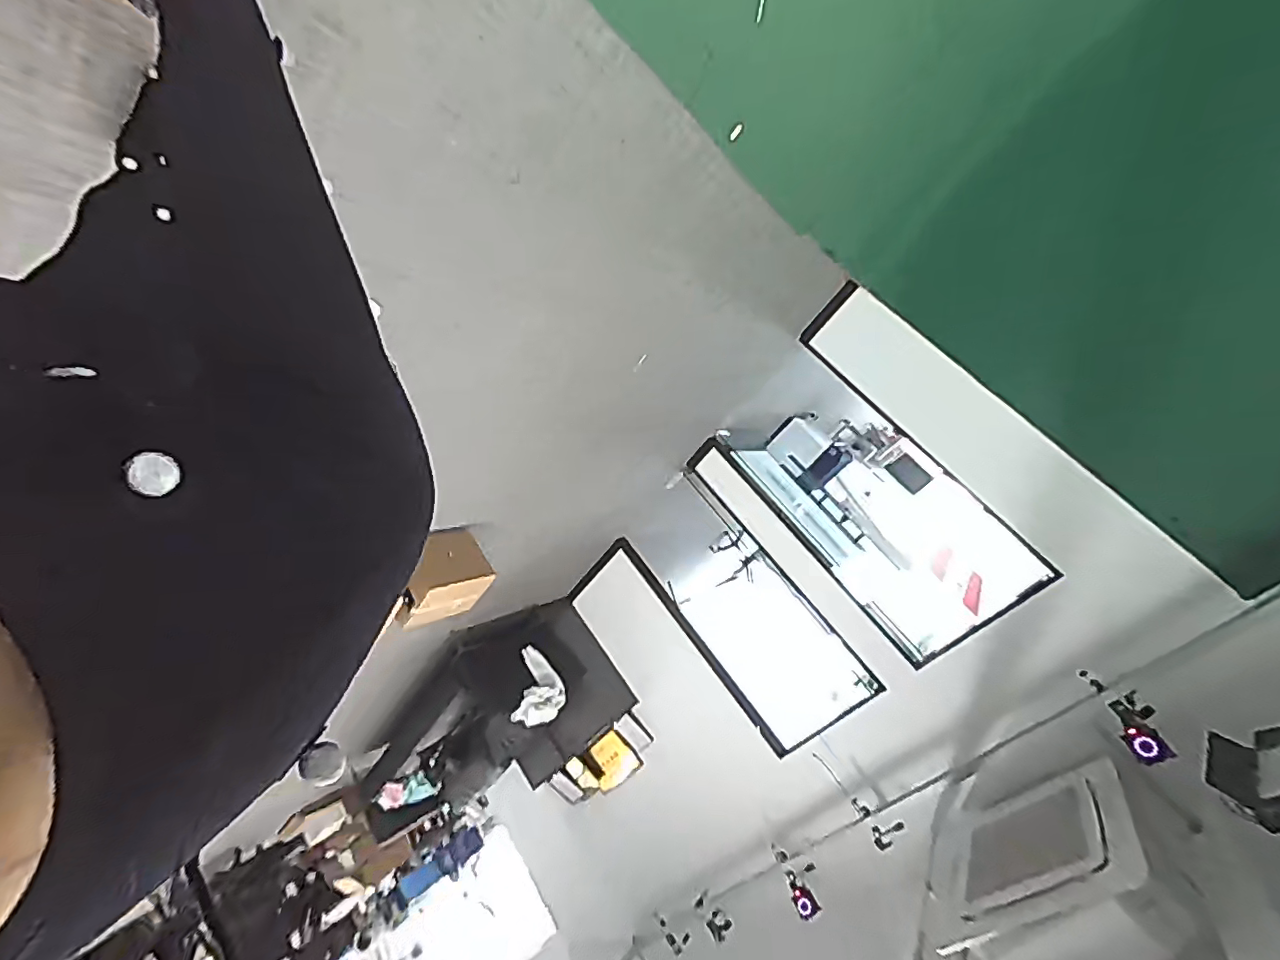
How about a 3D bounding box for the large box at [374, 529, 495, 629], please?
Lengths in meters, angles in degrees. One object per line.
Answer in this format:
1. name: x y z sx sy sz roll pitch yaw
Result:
1. large box: -1.011 0.470 2.661 0.320 0.320 0.408 -48 159 25
